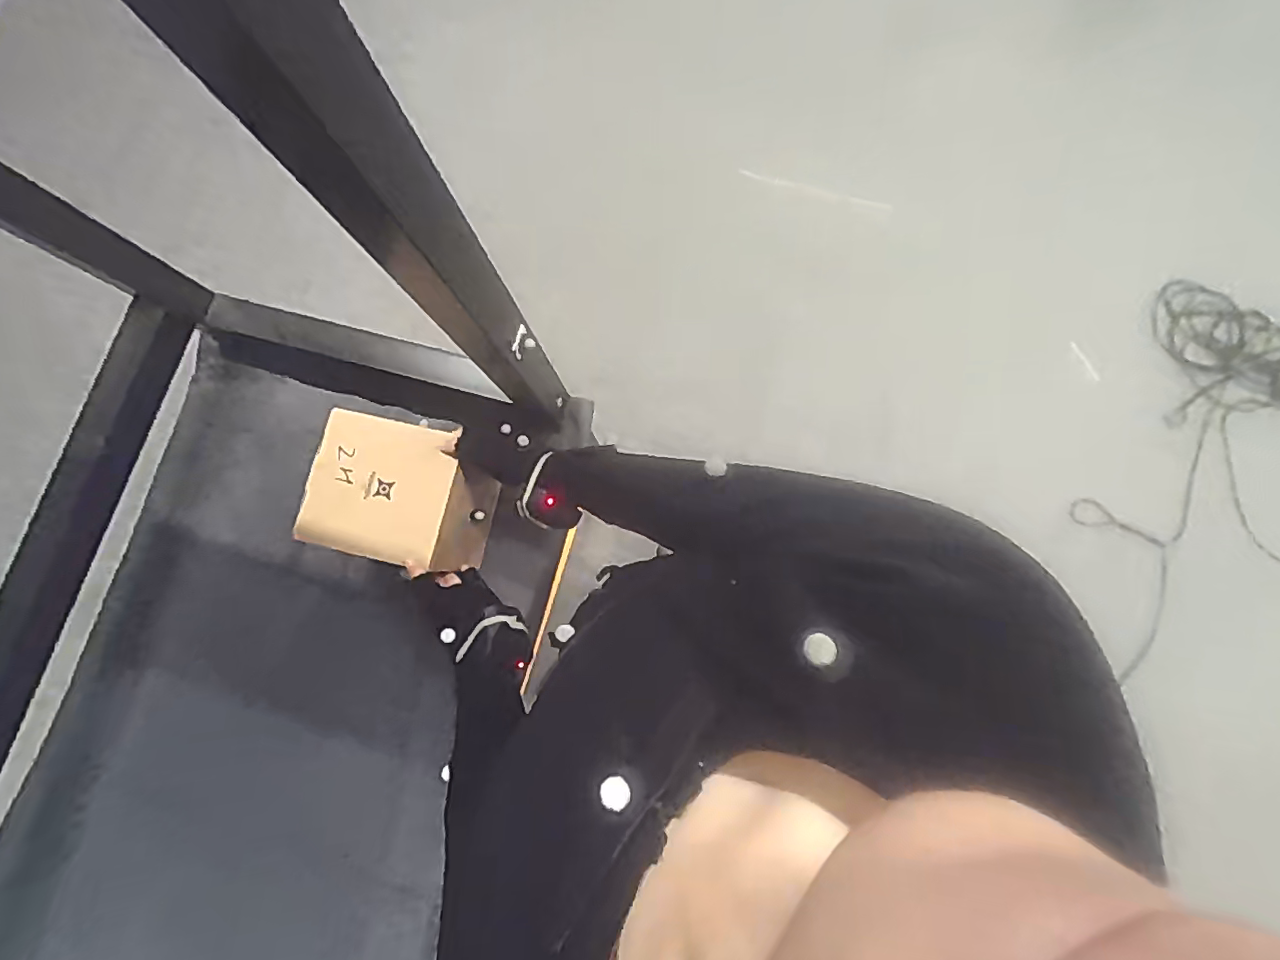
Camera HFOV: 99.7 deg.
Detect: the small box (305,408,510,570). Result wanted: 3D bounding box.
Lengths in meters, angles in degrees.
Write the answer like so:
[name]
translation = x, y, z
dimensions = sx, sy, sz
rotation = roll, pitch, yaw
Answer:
[small box]
translation = -0.293, 0.019, 0.723
dimensions = 0.179, 0.176, 0.168
rotation = 12, 82, 6
